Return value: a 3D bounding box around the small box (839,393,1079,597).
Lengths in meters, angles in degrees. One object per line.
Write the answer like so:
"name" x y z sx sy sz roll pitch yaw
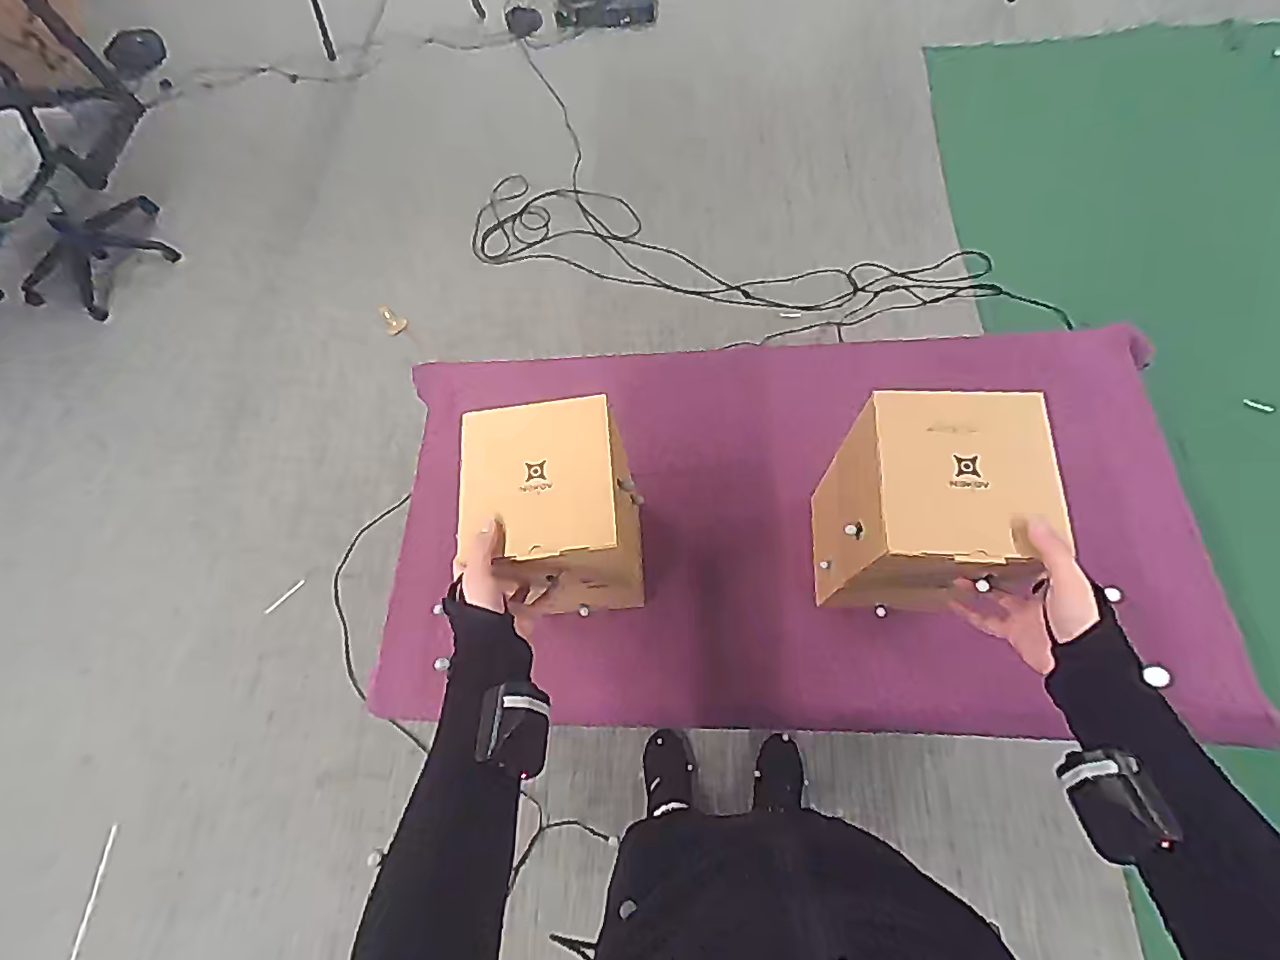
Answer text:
"small box" 0.320 0.025 0.585 0.168 0.176 0.179 3 69 7

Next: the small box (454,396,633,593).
"small box" -0.101 0.025 0.633 0.168 0.176 0.179 -7 68 3

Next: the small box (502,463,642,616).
"small box" -0.088 0.091 0.782 0.168 0.176 0.179 -5 67 5
